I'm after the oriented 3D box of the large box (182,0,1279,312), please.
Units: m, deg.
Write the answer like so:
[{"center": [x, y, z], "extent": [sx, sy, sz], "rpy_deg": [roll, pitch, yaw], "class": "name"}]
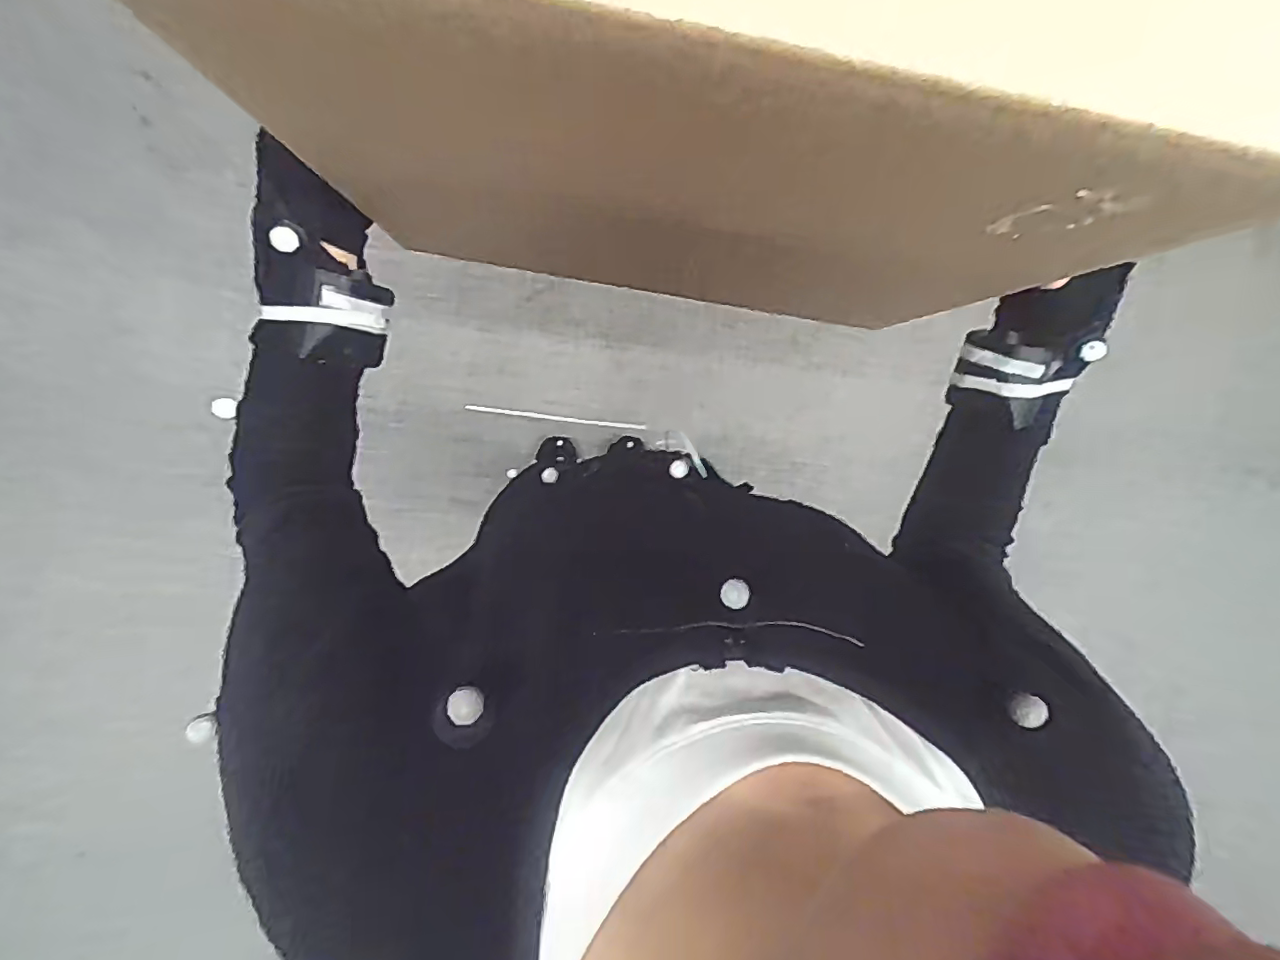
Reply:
[{"center": [0.047, -0.296, 0.282], "extent": [0.408, 0.320, 0.320], "rpy_deg": [7, 97, -7], "class": "large box"}]
